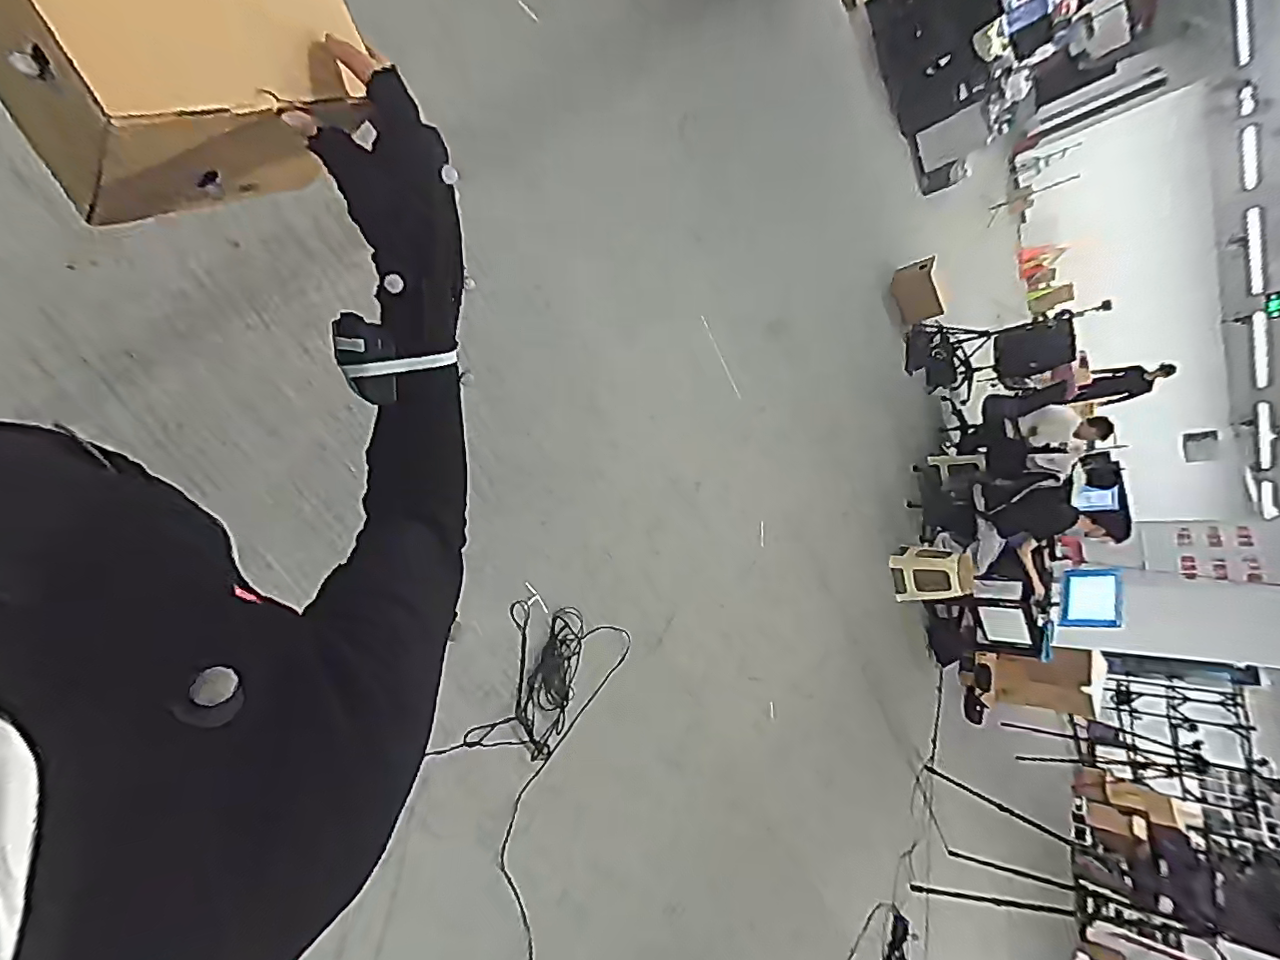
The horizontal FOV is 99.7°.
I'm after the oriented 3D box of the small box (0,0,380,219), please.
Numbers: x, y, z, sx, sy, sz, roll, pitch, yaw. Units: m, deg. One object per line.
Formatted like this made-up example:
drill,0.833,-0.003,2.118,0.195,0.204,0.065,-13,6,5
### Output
small box,-0.320,-0.301,0.355,0.168,0.176,0.179,-42,121,-40
